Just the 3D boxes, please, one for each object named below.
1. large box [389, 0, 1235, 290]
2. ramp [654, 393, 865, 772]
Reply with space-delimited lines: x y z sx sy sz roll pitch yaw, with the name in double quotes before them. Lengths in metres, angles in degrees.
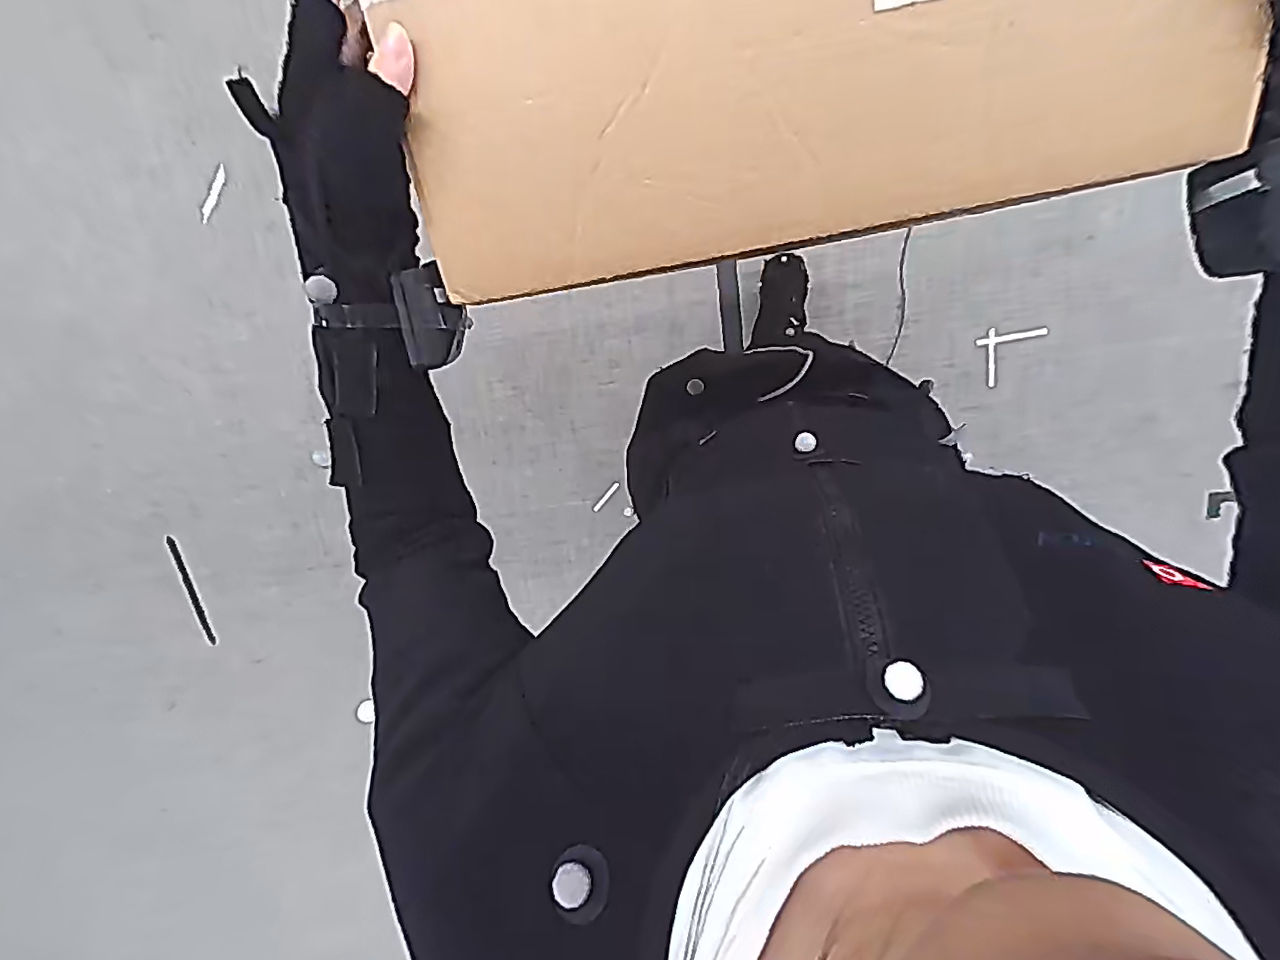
"large box" 0.074 -0.338 0.385 0.408 0.320 0.320 -8 111 9
"ramp" 0.315 0.292 1.437 0.509 0.206 0.991 -5 104 10
